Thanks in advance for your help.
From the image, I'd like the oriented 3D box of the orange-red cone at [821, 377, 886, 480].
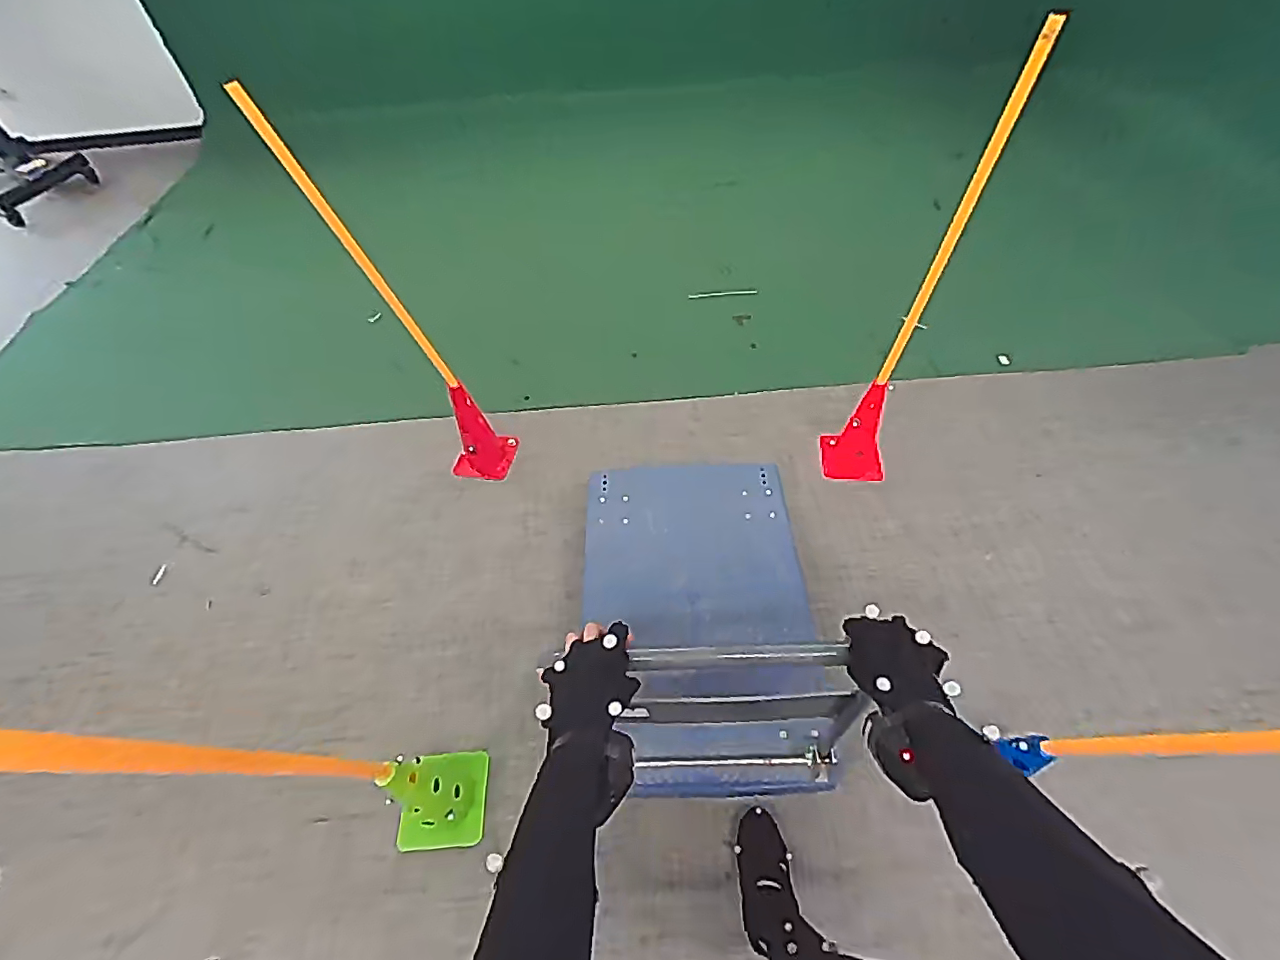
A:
[{"bbox_3d":[0.721,-0.185,1.736,0.198,0.360,0.199,5,54,8],"label":"orange-red cone"}]
